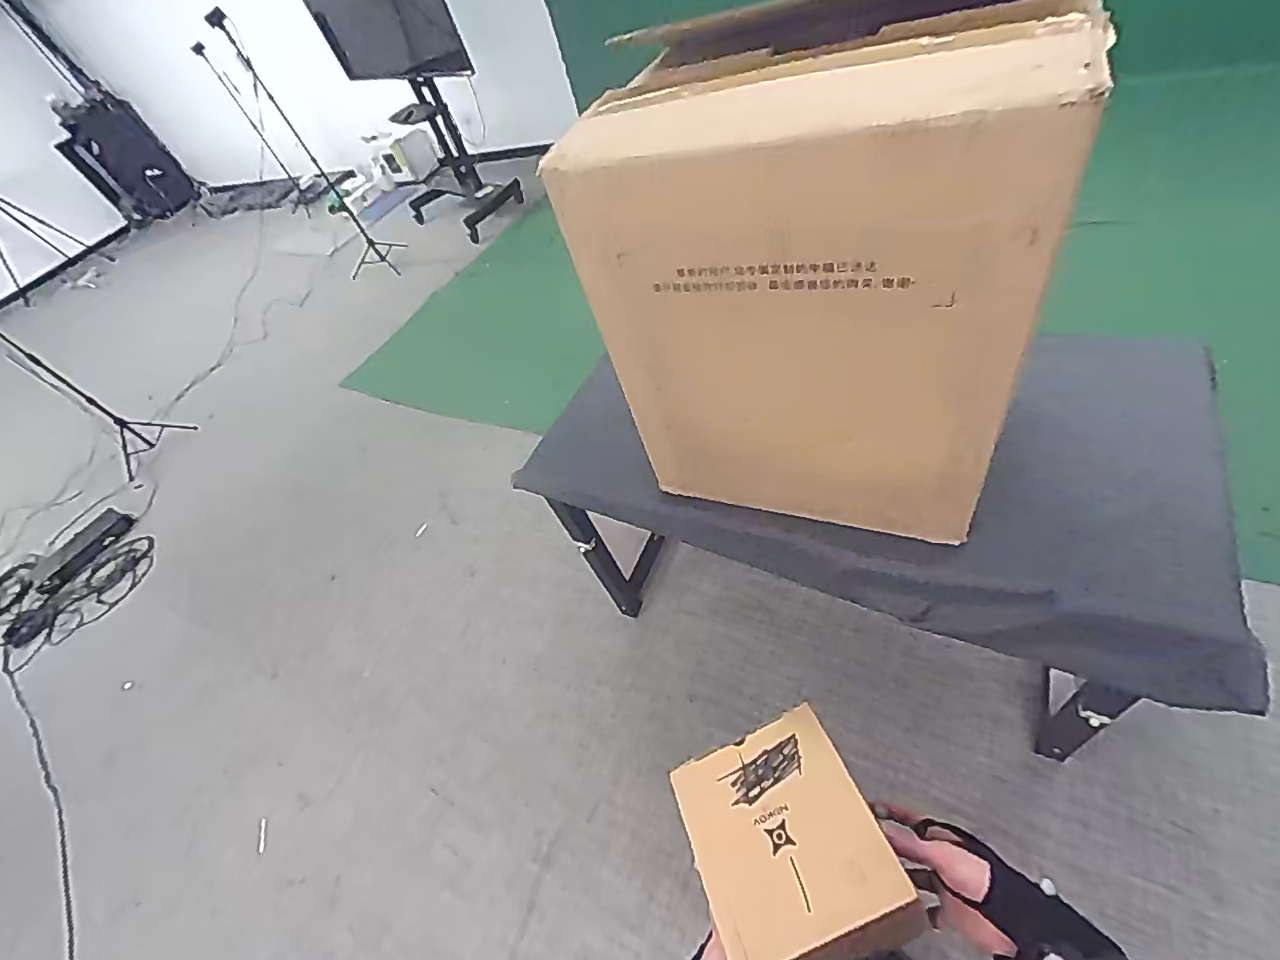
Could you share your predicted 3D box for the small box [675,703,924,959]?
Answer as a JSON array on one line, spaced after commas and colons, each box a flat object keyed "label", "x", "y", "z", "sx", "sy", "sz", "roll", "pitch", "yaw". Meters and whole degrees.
[{"label": "small box", "x": 0.159, "y": 0.371, "z": 0.550, "sx": 0.168, "sy": 0.176, "sz": 0.179, "roll": -28, "pitch": 39, "yaw": 3}]
